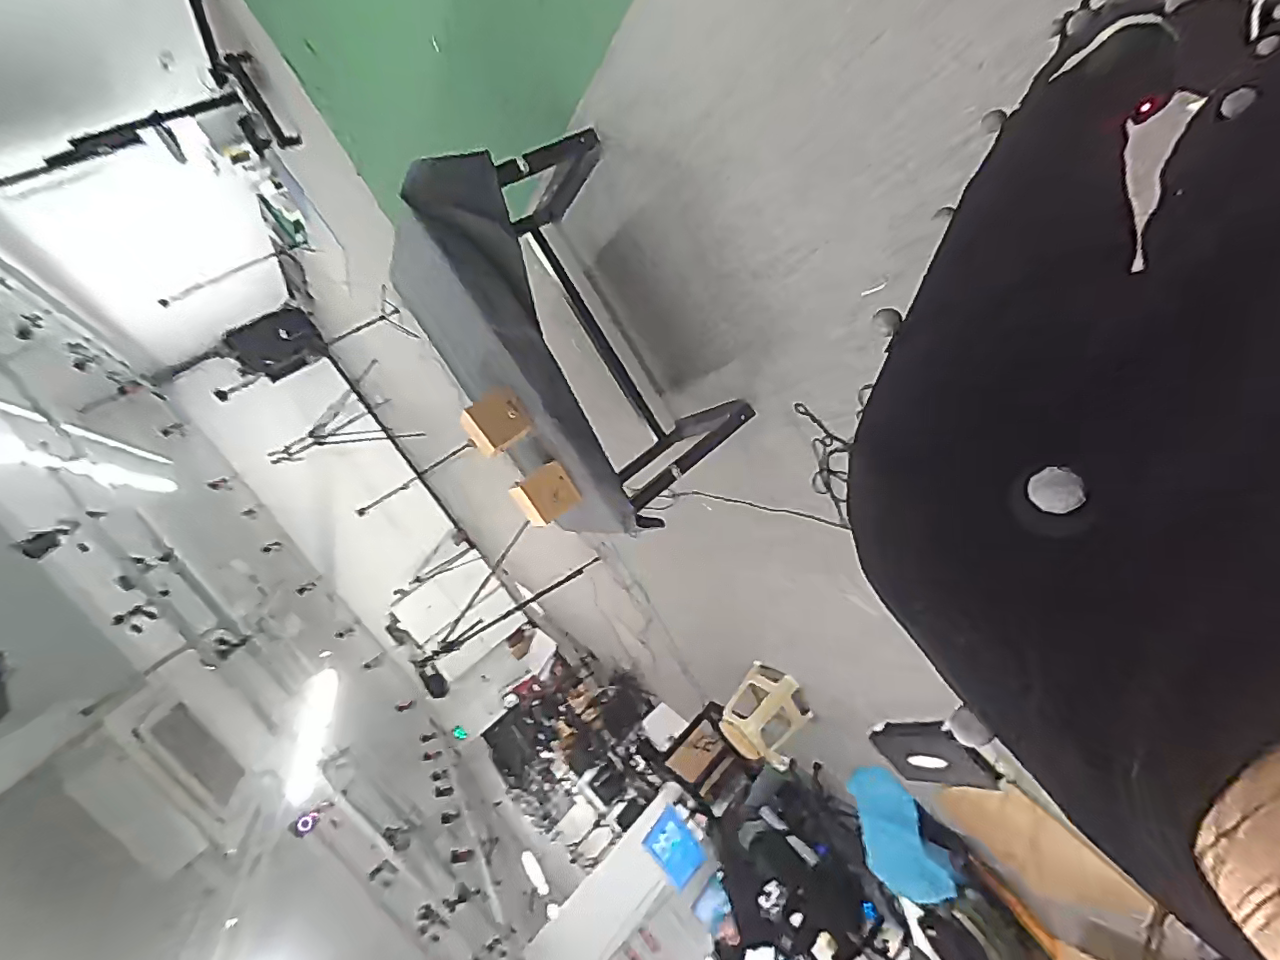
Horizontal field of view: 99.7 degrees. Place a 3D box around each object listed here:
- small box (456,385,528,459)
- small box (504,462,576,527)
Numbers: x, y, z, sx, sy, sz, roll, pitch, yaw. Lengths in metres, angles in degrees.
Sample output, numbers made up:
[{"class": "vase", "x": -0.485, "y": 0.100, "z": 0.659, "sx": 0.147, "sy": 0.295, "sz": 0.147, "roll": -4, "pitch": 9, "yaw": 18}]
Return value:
[{"class": "small box", "x": -0.506, "y": -0.198, "z": 1.853, "sx": 0.168, "sy": 0.176, "sz": 0.179, "roll": 53, "pitch": 155, "yaw": -5}, {"class": "small box", "x": -0.350, "y": 0.050, "z": 1.914, "sx": 0.168, "sy": 0.176, "sz": 0.179, "roll": 57, "pitch": 156, "yaw": -10}]
